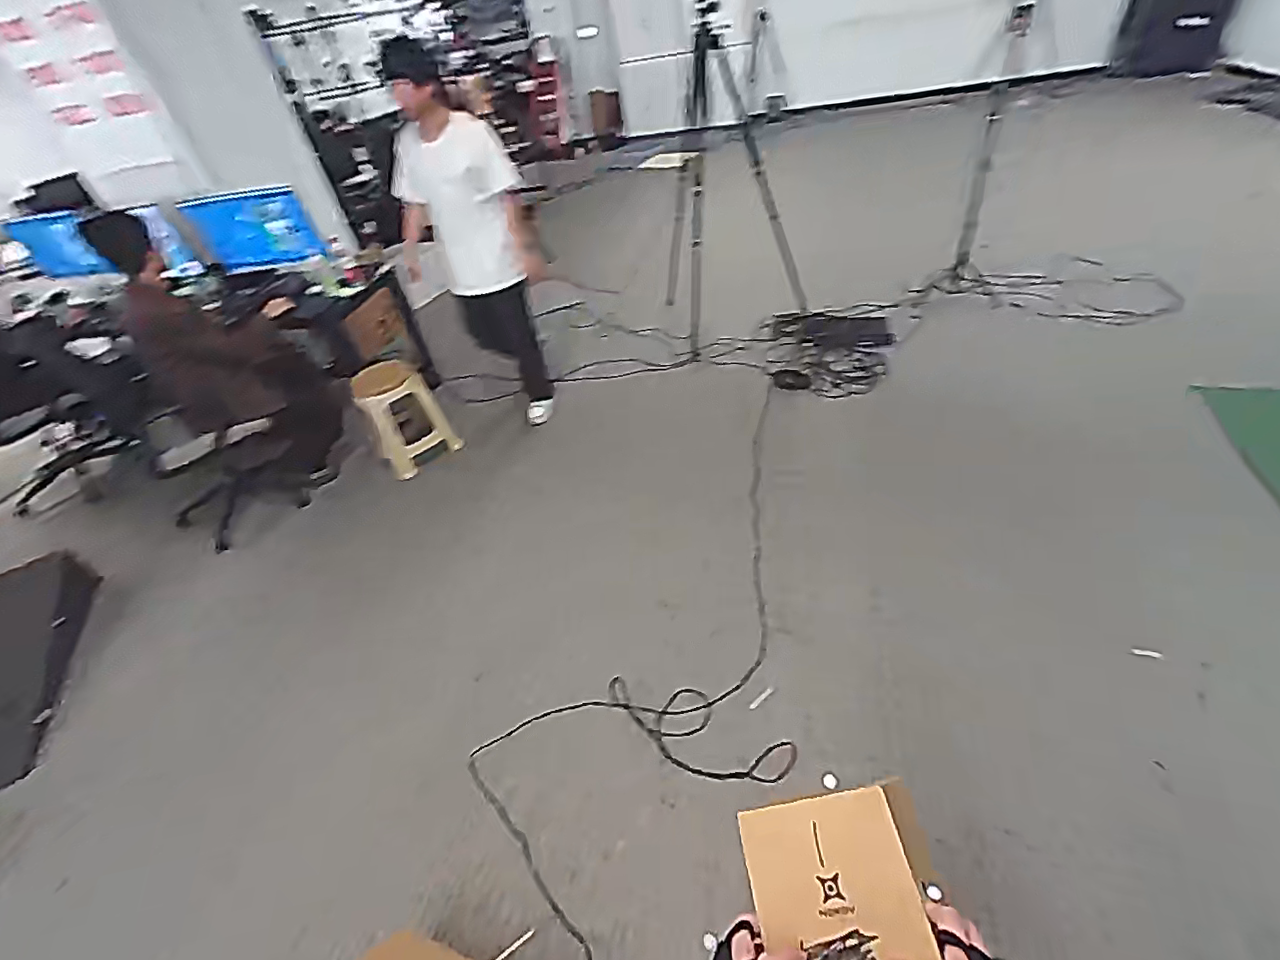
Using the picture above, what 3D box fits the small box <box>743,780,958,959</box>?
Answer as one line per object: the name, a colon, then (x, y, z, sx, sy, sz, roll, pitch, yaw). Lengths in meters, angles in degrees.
small box: (0.239, 0.452, 0.612, 0.168, 0.176, 0.179, -23, 56, 21)
